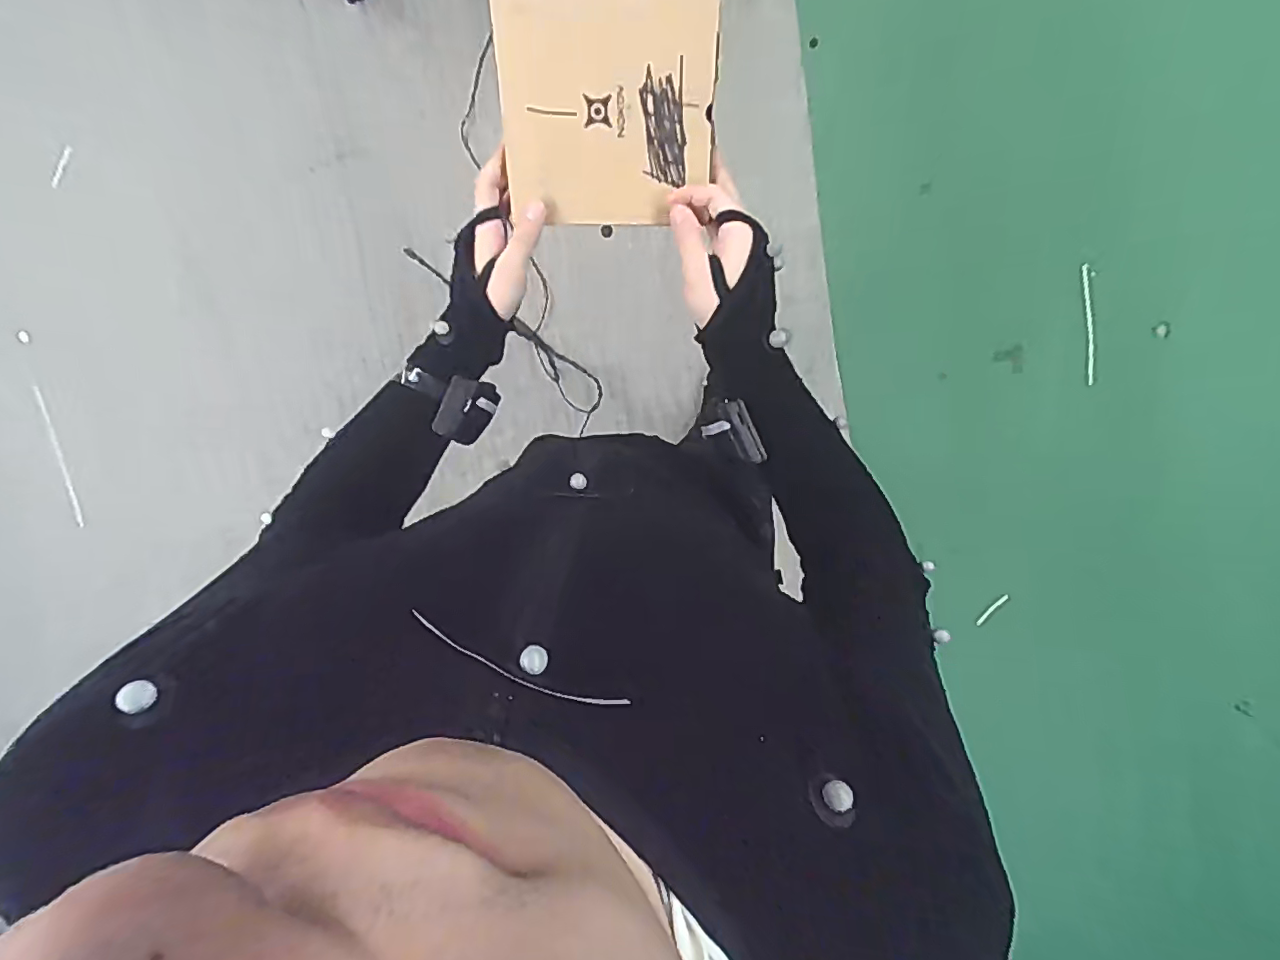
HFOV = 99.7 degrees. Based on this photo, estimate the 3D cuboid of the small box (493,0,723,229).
[{"bbox_3d":[-0.023,-0.334,0.512,0.179,0.176,0.168,1,118,2],"label":"small box"}]
